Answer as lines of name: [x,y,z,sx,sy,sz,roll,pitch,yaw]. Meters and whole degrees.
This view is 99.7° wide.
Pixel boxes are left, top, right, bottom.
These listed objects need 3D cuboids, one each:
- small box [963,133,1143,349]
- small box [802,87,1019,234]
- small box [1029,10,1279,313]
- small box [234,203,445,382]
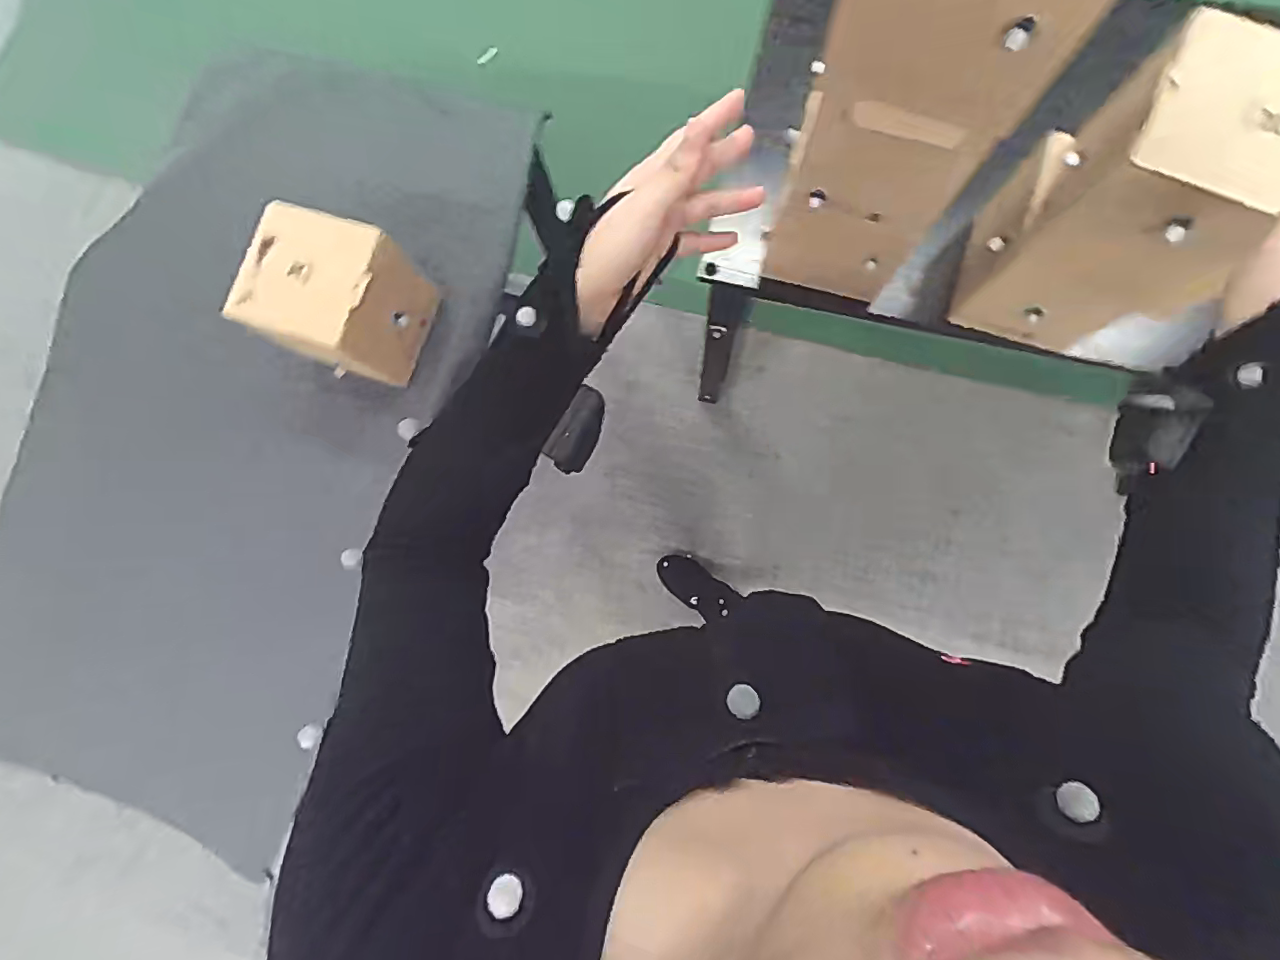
small box: [0.553,-0.292,0.698,0.168,0.176,0.179,19,84,7]
small box: [0.284,-0.395,0.568,0.168,0.176,0.179,18,84,6]
small box: [0.546,-0.290,0.533,0.179,0.176,0.168,27,86,8]
small box: [-0.413,-0.255,0.776,0.179,0.176,0.168,19,85,9]
